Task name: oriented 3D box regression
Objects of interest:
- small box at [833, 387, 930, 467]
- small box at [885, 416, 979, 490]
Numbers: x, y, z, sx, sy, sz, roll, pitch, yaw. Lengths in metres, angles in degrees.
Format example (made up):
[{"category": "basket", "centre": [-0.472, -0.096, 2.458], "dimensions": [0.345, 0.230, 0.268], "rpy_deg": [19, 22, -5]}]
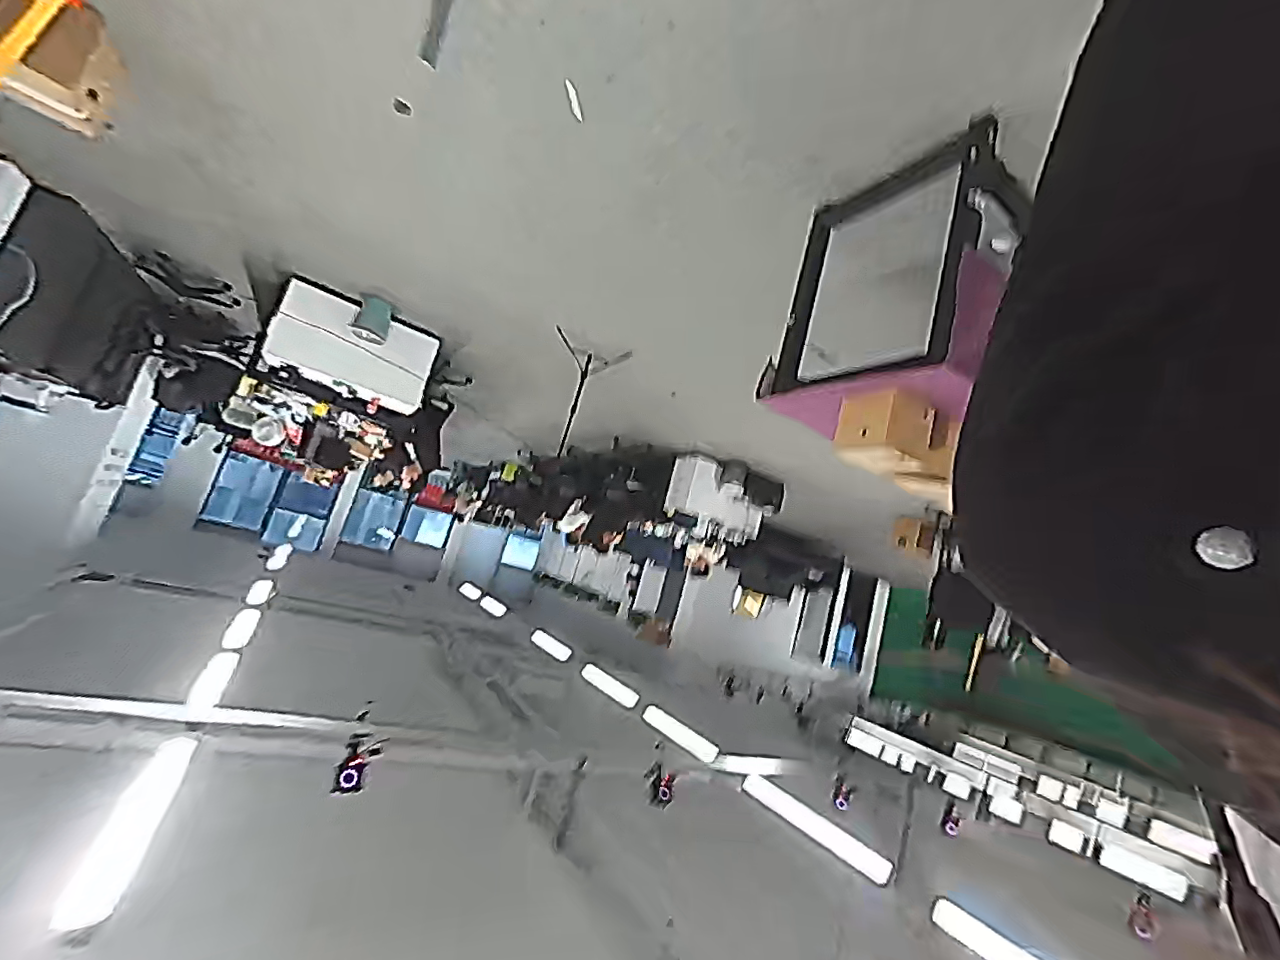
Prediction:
[{"category": "small box", "centre": [0.661, -0.143, 1.471], "dimensions": [0.168, 0.176, 0.179], "rpy_deg": [19, 171, -24]}, {"category": "small box", "centre": [0.847, -0.076, 1.567], "dimensions": [0.168, 0.176, 0.179], "rpy_deg": [20, 169, -30]}]
